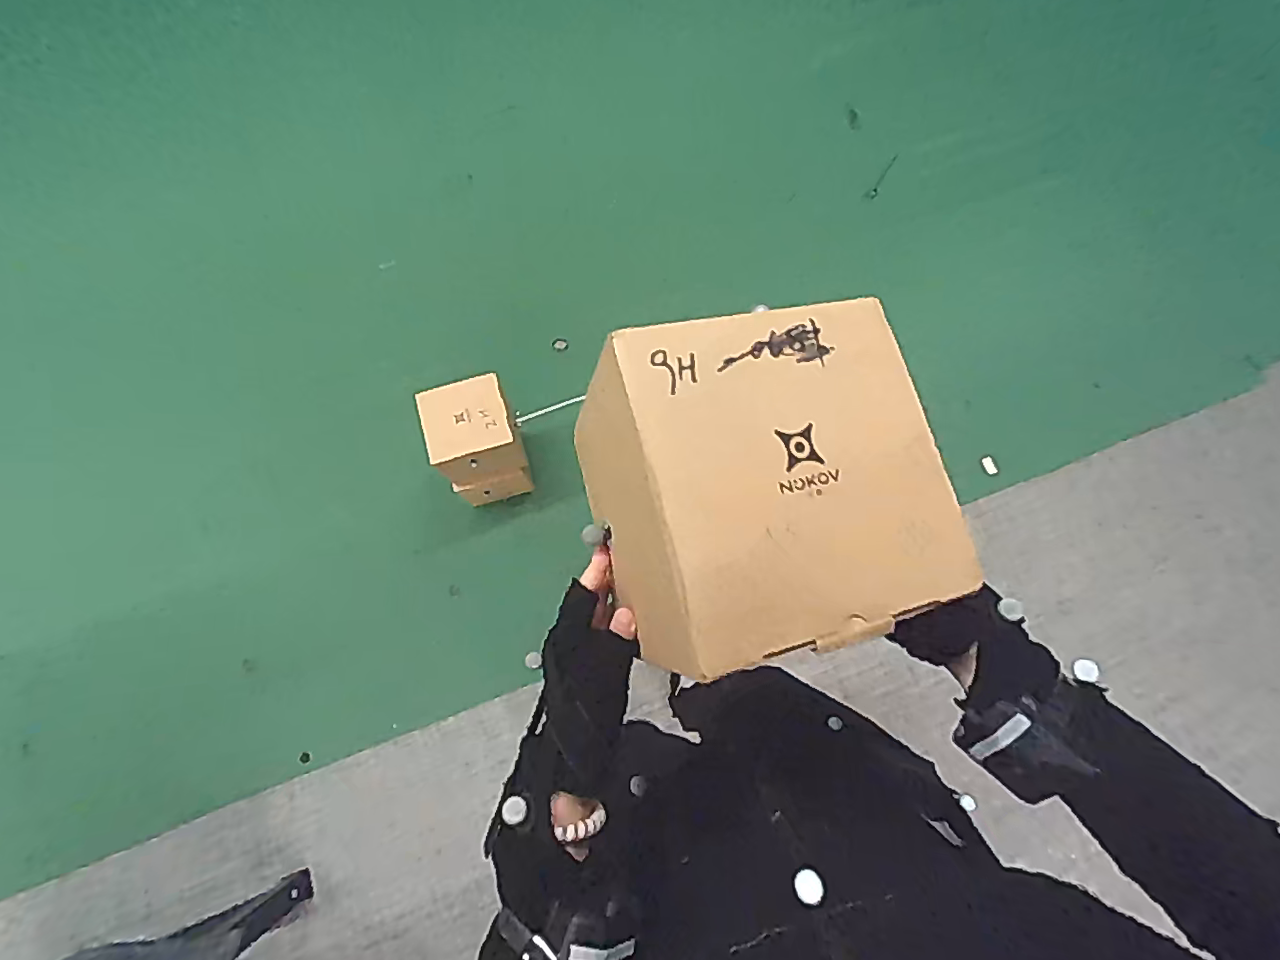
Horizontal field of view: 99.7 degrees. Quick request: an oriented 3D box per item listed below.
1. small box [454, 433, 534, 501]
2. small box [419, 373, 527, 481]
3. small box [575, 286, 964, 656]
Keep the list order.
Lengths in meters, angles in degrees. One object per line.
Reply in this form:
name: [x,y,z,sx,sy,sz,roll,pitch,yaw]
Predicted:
small box: [-0.374,-0.055,1.361,0.168,0.176,0.179,-15,75,-5]
small box: [-0.366,-0.111,1.207,0.179,0.176,0.168,-16,75,-7]
small box: [0.060,0.001,0.359,0.168,0.176,0.179,-12,80,-16]
